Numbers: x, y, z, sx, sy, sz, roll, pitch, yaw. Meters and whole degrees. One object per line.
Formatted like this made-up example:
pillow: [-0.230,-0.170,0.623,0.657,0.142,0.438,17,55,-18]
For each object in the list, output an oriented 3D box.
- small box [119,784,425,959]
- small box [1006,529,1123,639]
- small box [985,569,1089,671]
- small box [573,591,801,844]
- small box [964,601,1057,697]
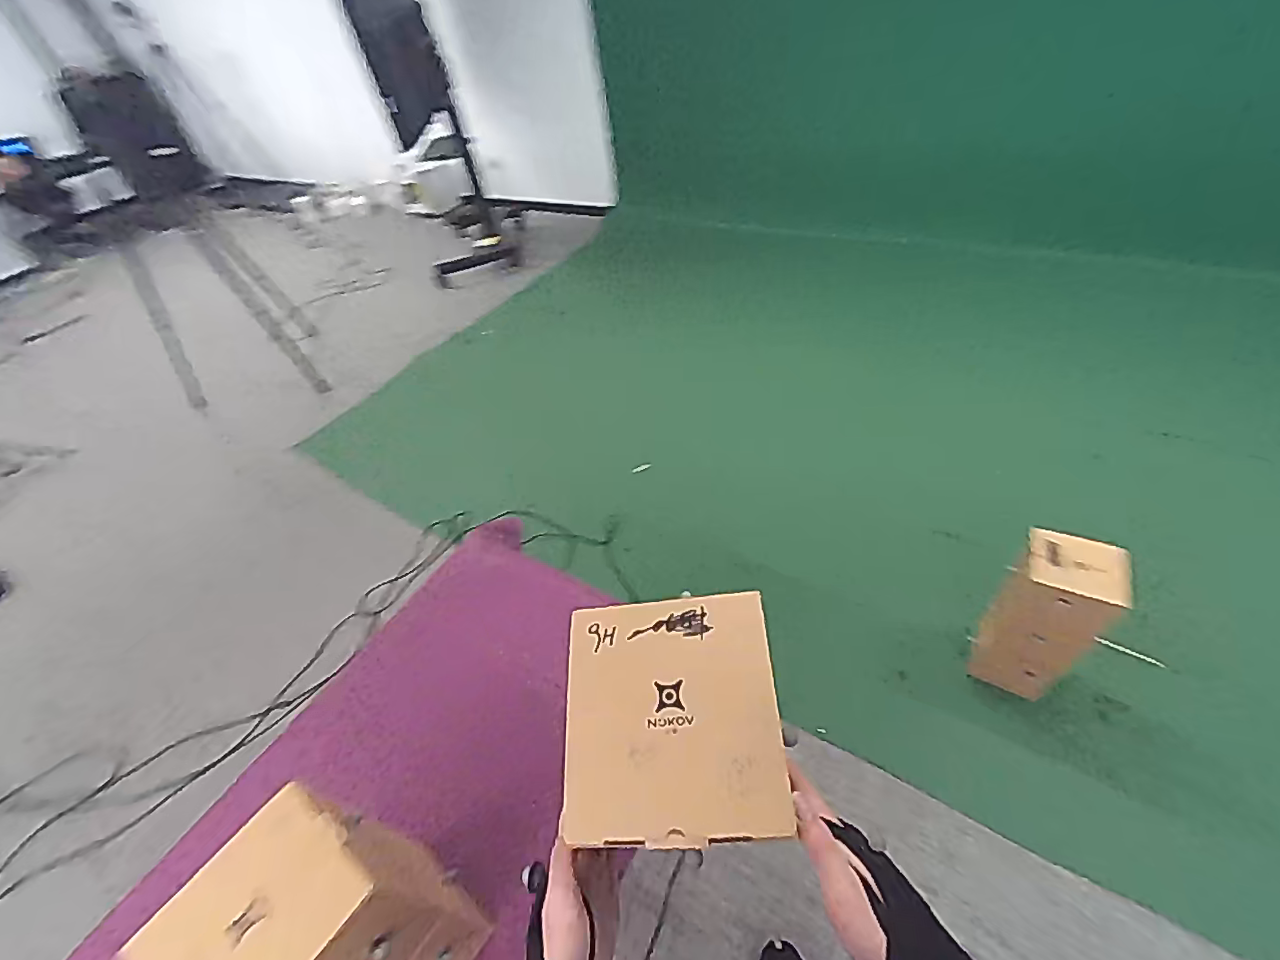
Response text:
small box: [-0.349,0.460,0.551,0.168,0.176,0.179,22,54,31]
small box: [0.994,0.247,1.279,0.179,0.176,0.168,16,52,25]
small box: [1.021,0.364,1.392,0.179,0.176,0.168,16,51,27]
small box: [0.048,0.217,0.482,0.168,0.176,0.179,-8,56,11]
small box: [1.037,0.476,1.508,0.179,0.176,0.168,19,52,28]
